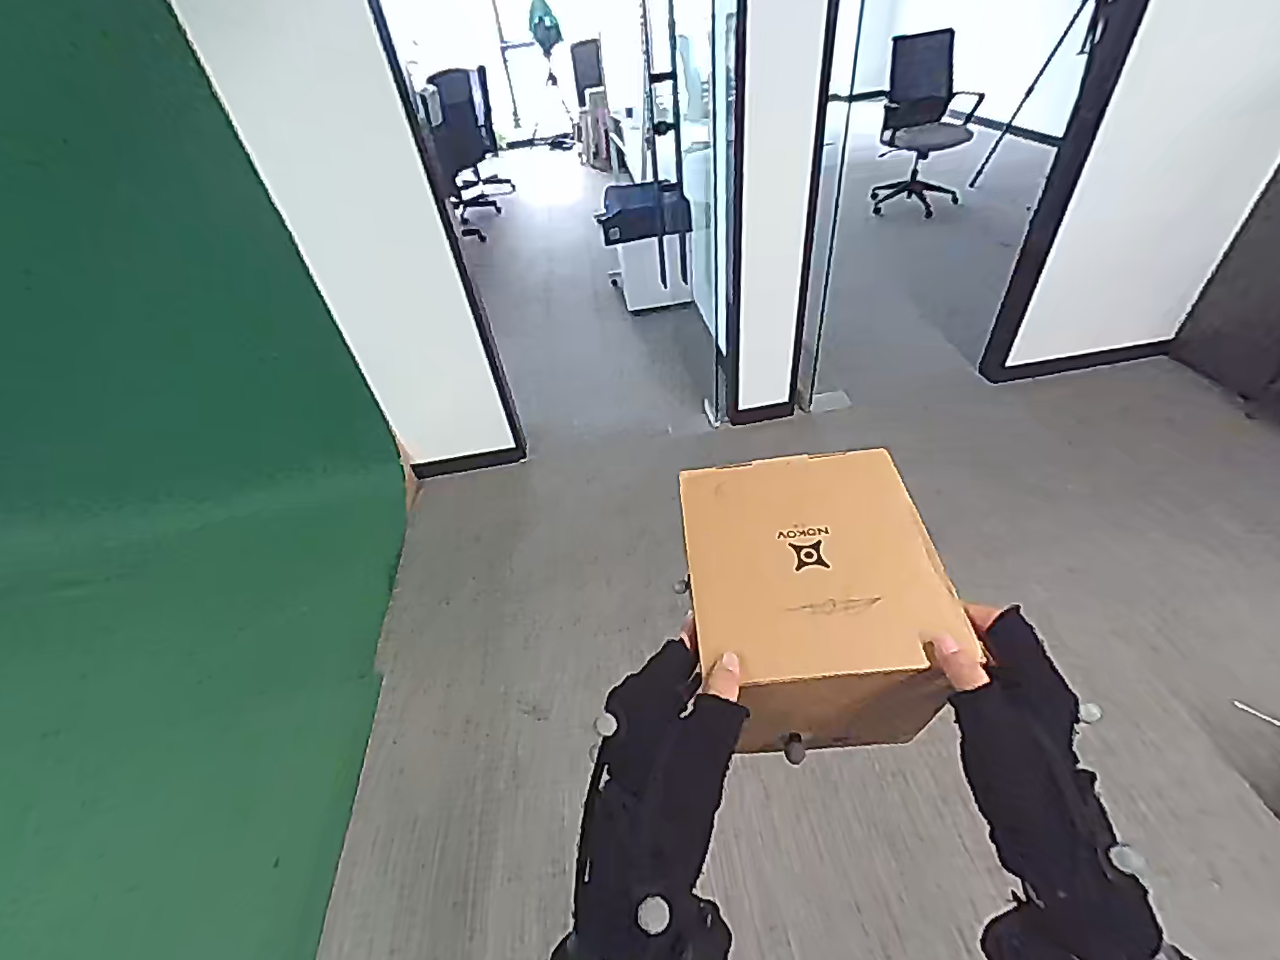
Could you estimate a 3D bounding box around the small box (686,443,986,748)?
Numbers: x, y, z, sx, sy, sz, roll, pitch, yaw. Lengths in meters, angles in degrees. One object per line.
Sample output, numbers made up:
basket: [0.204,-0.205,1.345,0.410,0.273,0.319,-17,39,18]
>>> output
small box: [0.127,0.095,0.432,0.168,0.176,0.179,-6,50,4]
